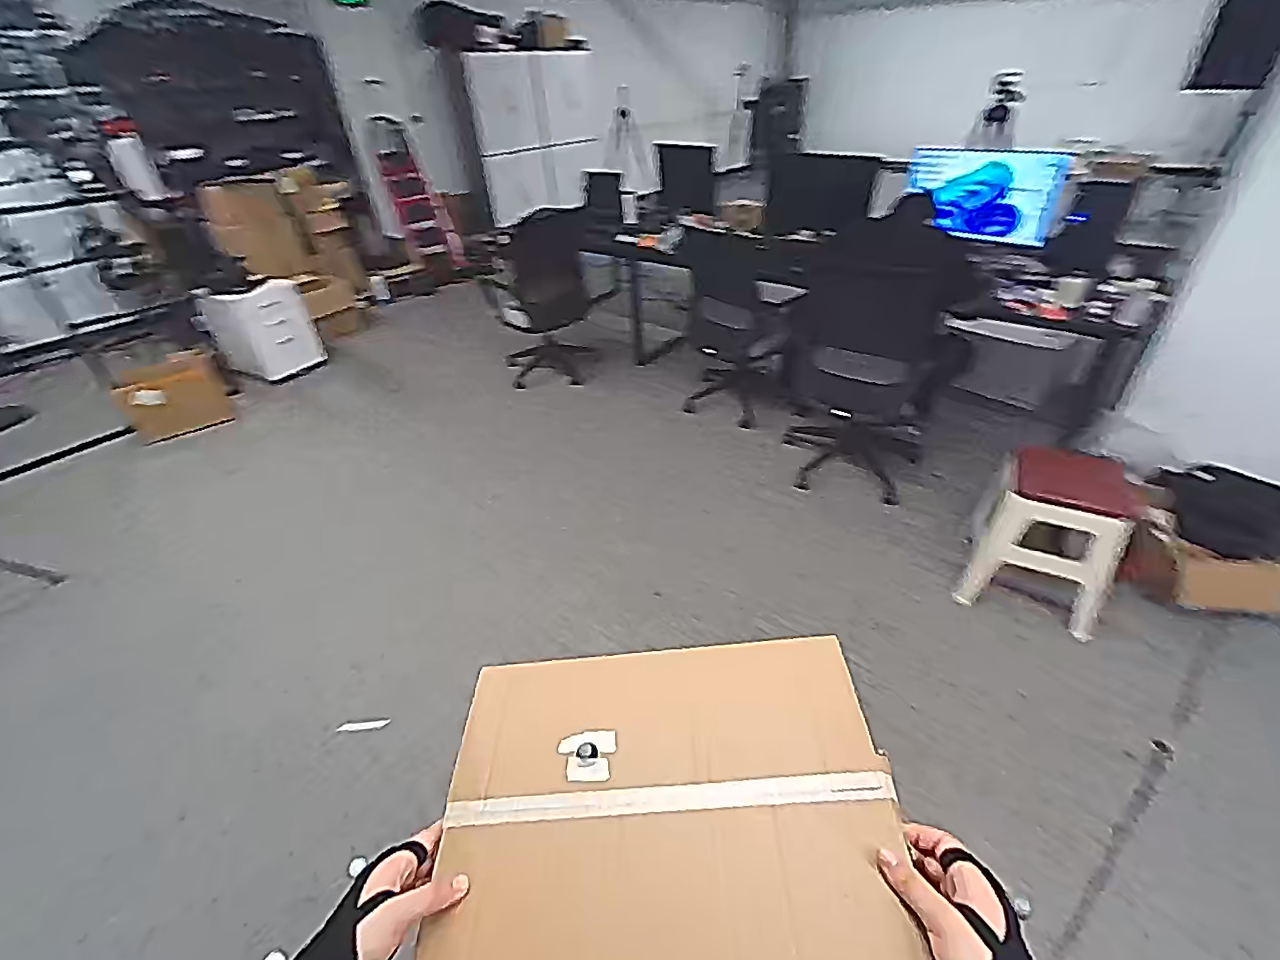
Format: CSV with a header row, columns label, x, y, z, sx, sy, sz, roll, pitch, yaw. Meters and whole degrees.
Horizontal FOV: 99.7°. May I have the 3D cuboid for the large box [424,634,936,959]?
label,x,y,z,sx,sy,sz,roll,pitch,yaw
large box,0.043,0.411,0.594,0.408,0.320,0.320,-9,38,6
